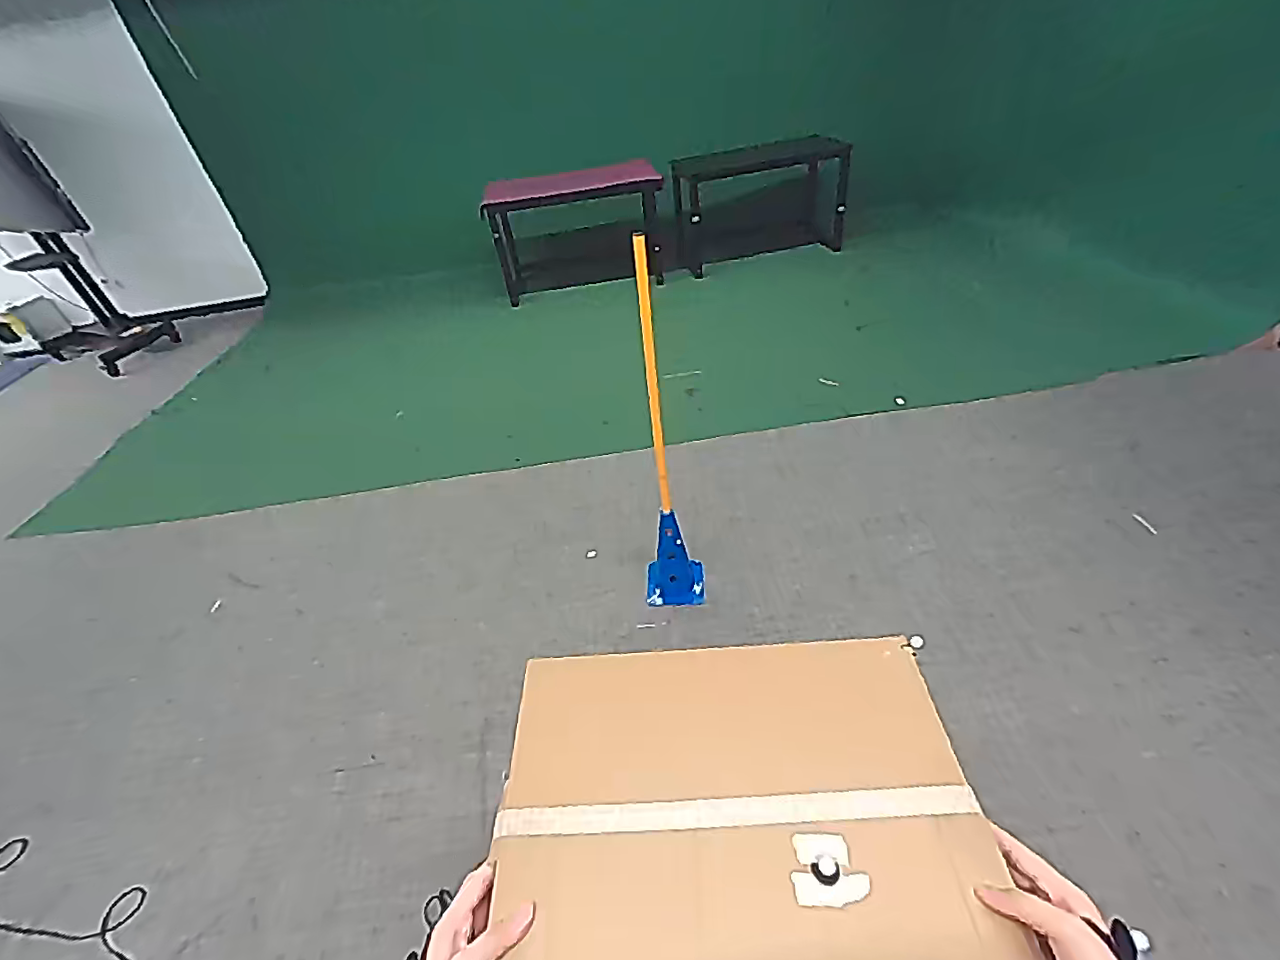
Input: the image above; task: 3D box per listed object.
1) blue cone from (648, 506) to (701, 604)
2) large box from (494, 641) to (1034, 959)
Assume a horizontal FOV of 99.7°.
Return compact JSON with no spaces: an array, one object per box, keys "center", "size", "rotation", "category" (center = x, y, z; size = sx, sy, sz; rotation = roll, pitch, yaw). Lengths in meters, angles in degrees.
[{"center":[0.104,0.245,1.849],"size":[0.193,0.380,0.192],"rotation":[-2,39,7],"category":"blue cone"},{"center":[0.093,0.400,0.571],"size":[0.408,0.320,0.320],"rotation":[-4,42,2],"category":"large box"}]
